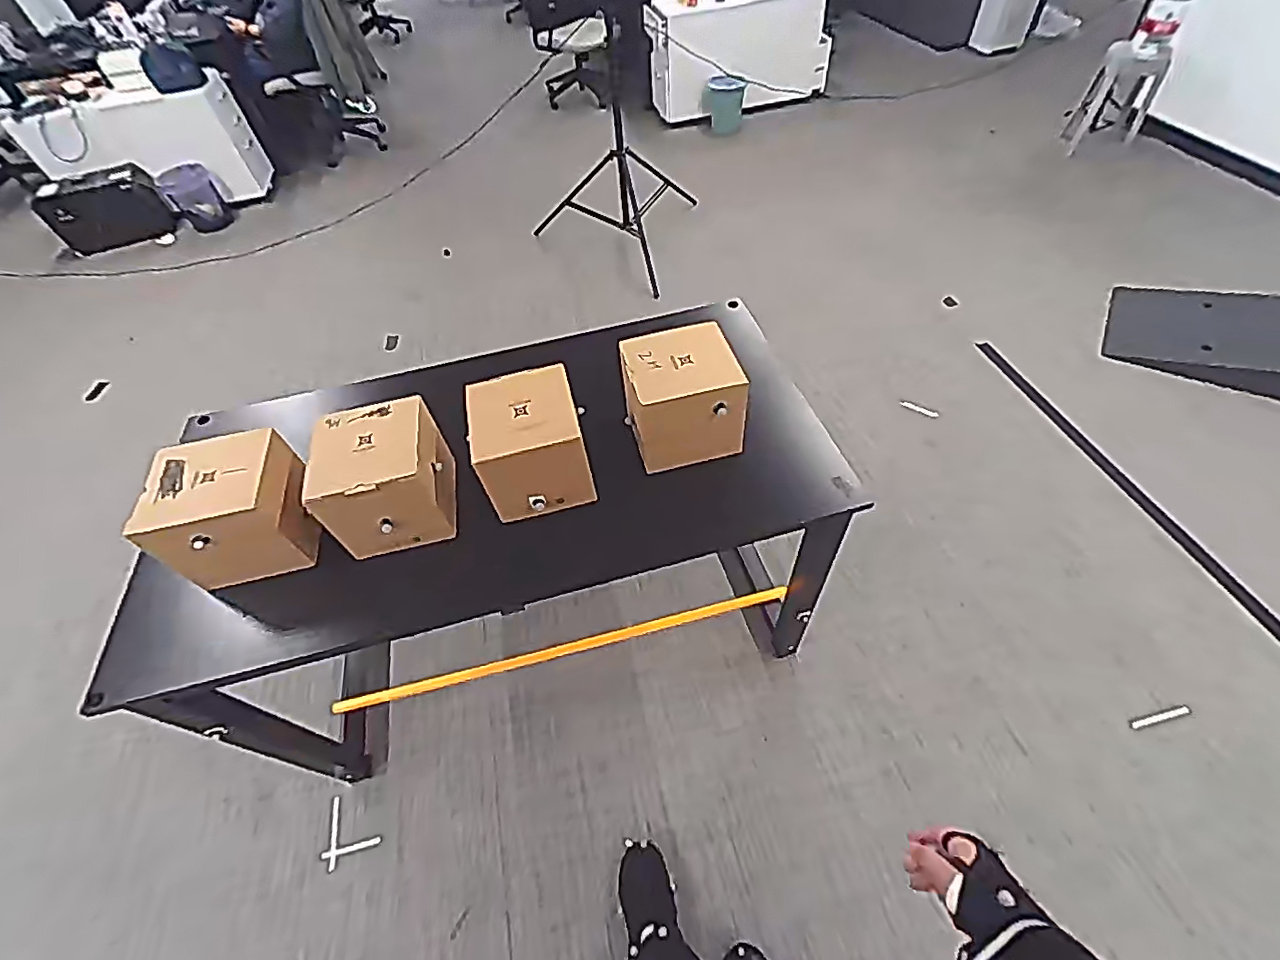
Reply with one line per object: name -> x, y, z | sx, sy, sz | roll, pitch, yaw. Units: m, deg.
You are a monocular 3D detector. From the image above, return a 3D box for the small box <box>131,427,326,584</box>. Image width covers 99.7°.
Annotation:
small box -> -0.632, 0.046, 0.863 | 0.179, 0.176, 0.168 | -13, 53, -6

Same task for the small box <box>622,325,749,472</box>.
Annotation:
small box -> 0.075, -0.139, 0.941 | 0.179, 0.176, 0.168 | -13, 52, -4

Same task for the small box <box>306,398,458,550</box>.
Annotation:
small box -> -0.405, -0.002, 0.881 | 0.168, 0.176, 0.179 | -13, 53, -5

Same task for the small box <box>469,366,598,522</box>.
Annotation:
small box -> -0.175, -0.057, 0.905 | 0.168, 0.176, 0.179 | -15, 54, -5
